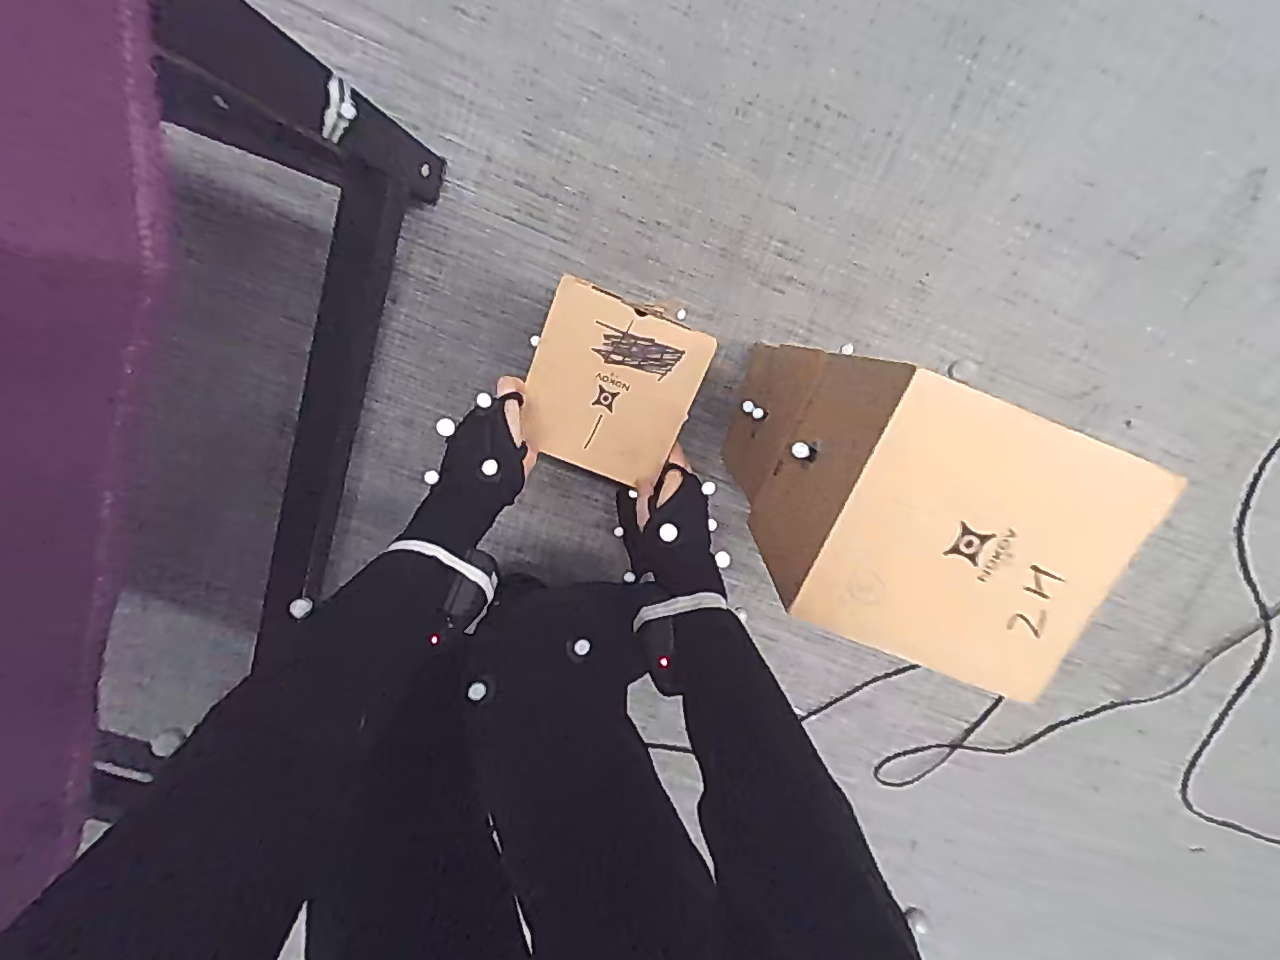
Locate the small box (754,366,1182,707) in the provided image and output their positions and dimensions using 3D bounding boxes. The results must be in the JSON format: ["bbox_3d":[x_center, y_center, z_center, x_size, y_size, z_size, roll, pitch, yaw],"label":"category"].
[{"bbox_3d":[0.203,0.023,0.400,0.179,0.176,0.168,22,106,-5],"label":"small box"}]

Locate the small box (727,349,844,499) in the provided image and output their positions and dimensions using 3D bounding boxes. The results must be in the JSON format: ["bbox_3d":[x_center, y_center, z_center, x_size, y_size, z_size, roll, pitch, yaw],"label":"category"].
[{"bbox_3d":[0.221,-0.065,0.717,0.168,0.176,0.179,15,106,-3],"label":"small box"}]
